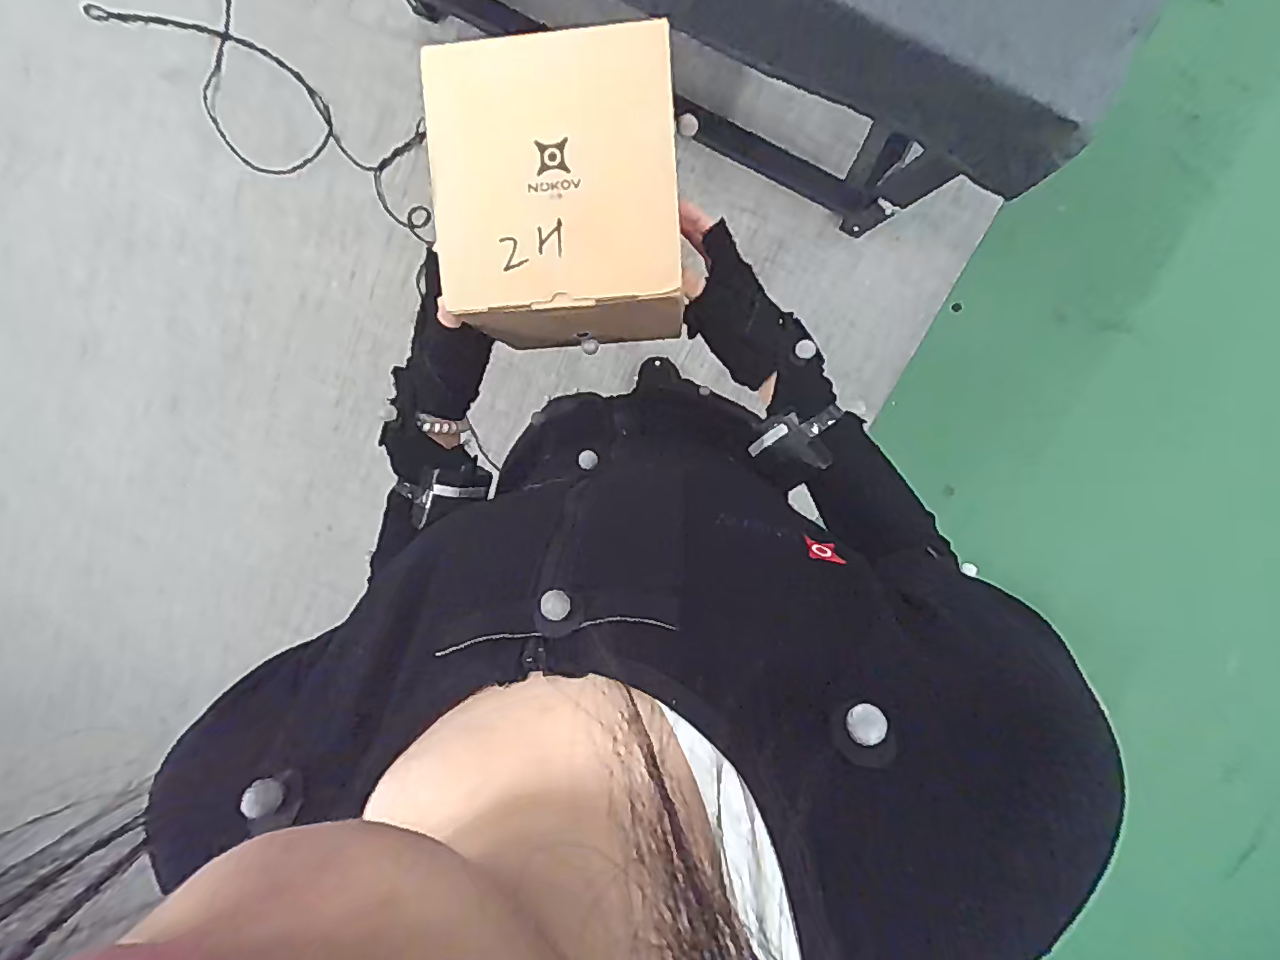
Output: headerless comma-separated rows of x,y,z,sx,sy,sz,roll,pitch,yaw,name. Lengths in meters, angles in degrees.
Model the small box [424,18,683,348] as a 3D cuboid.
-0.052,-0.211,0.435,0.168,0.176,0.179,-3,95,4,small box
